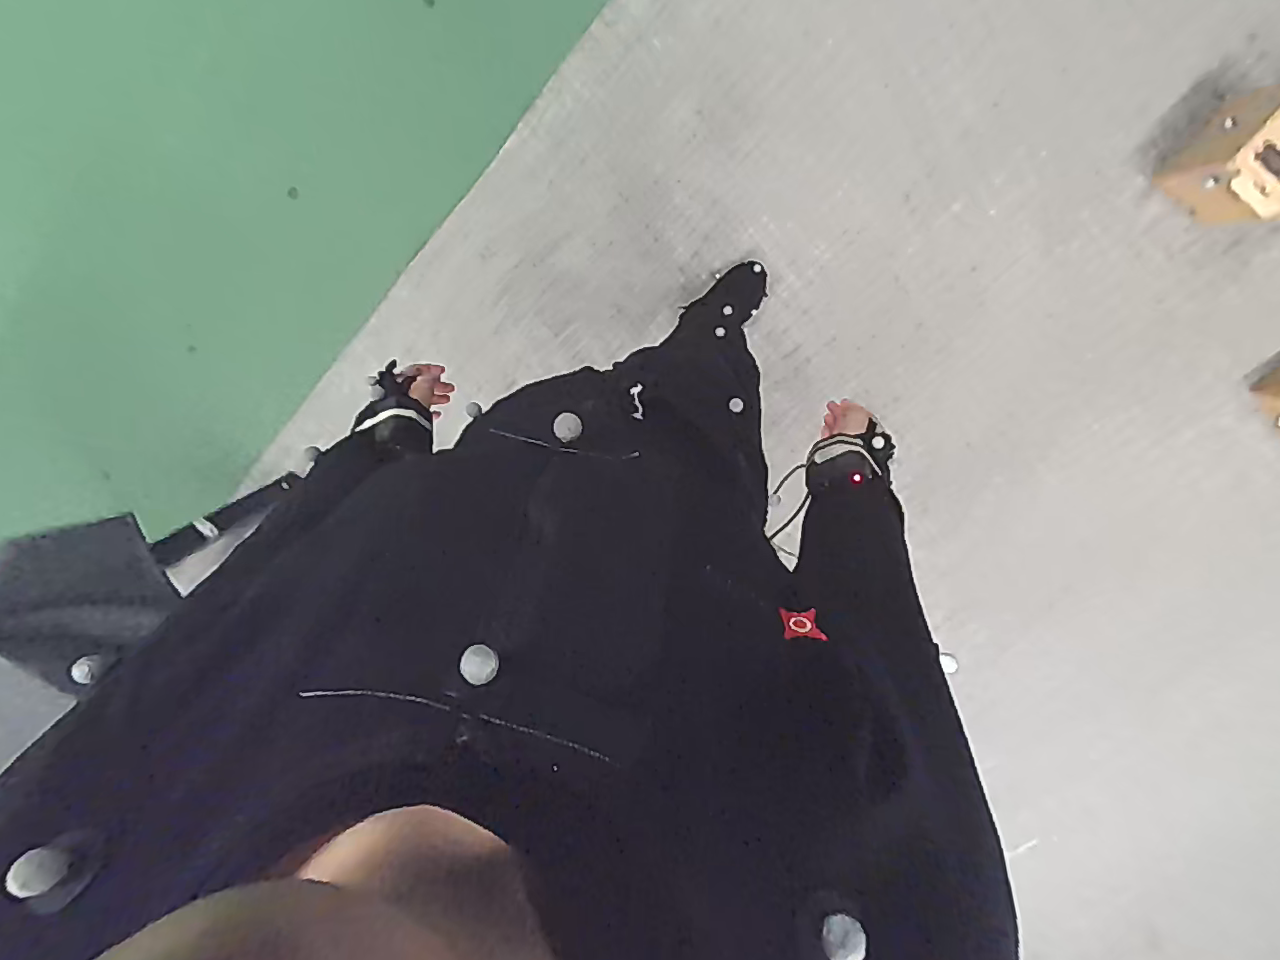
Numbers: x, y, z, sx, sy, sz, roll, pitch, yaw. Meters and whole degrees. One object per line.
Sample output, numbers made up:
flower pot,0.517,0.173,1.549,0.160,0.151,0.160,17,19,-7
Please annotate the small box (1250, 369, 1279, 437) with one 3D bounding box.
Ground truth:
small box,1.496,-0.177,1.149,0.168,0.176,0.179,42,108,-12
